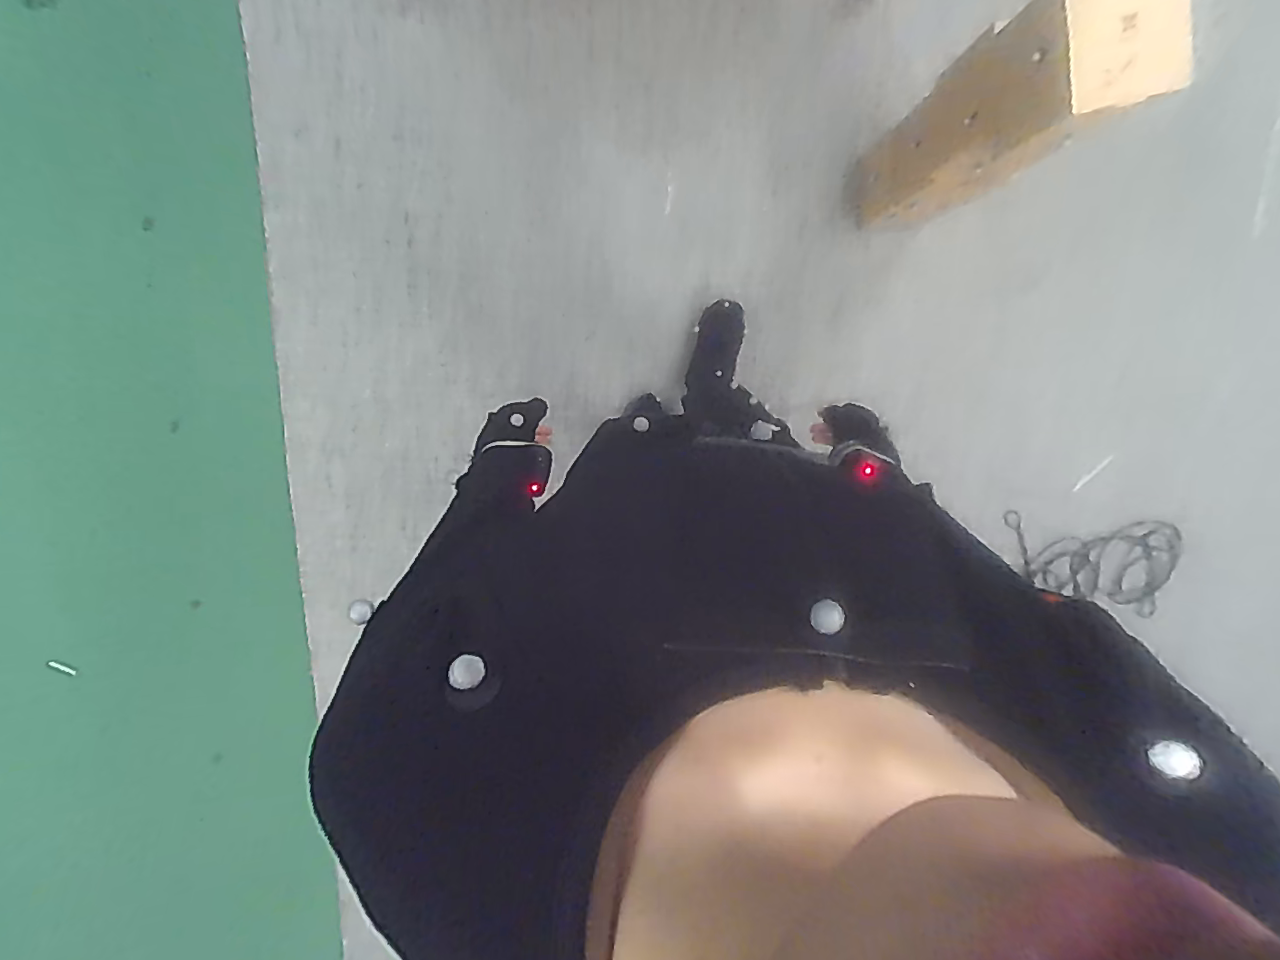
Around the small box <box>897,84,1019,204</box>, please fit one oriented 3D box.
[{"bbox_3d":[0.647,-0.680,1.107,0.168,0.176,0.179,-3,100,-1],"label":"small box"}]

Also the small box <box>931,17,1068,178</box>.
[{"bbox_3d":[0.637,-0.656,0.945,0.168,0.176,0.179,0,101,-1],"label":"small box"}]

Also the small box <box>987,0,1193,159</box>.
[{"bbox_3d":[0.640,-0.607,0.788,0.168,0.176,0.179,-13,102,2],"label":"small box"}]
